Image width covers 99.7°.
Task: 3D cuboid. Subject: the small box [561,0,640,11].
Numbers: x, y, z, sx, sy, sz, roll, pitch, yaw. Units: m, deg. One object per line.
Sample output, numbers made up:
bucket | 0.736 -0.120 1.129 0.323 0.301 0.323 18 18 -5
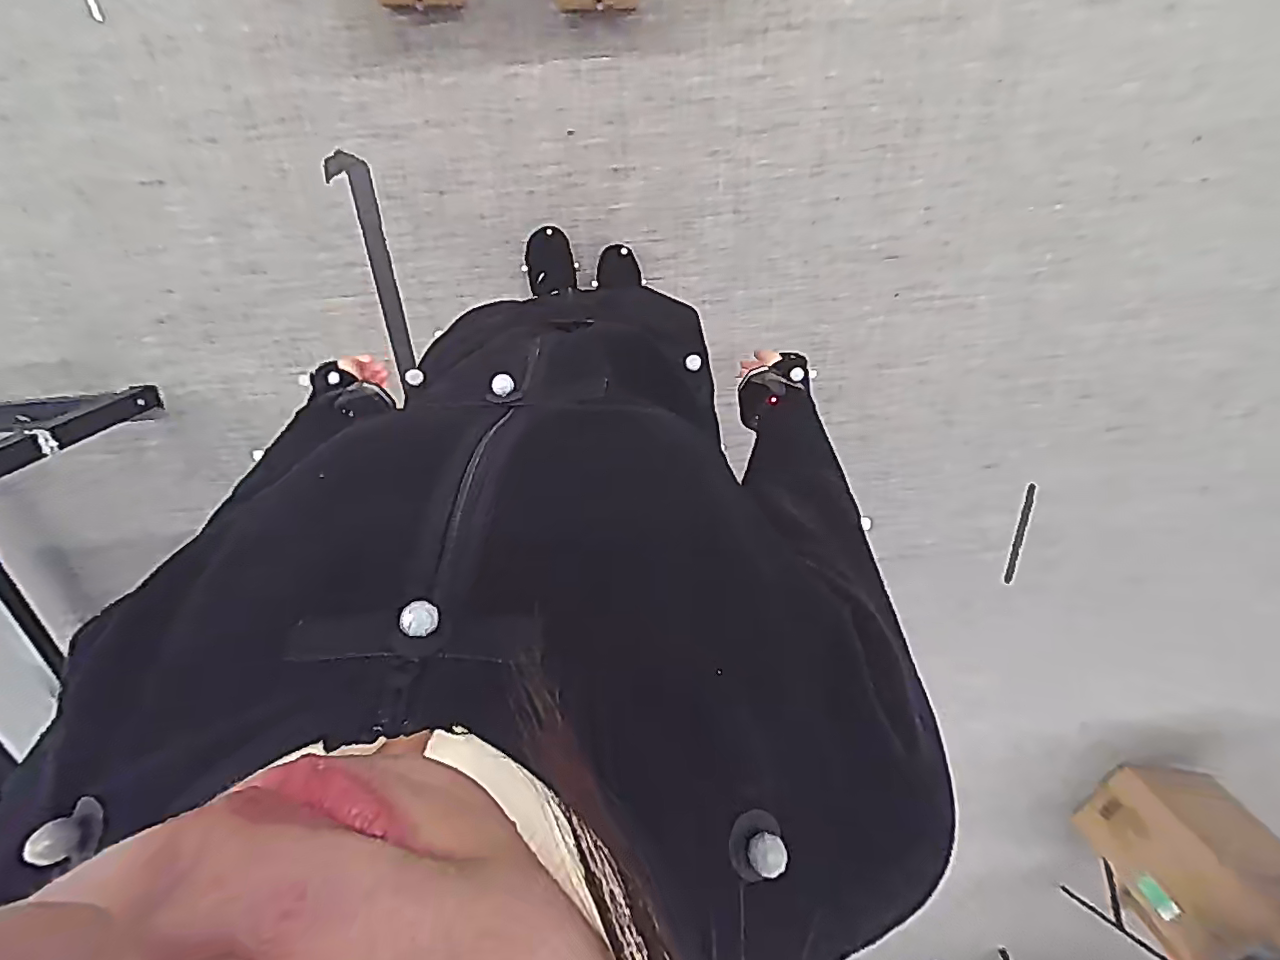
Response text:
small box | -0.077 -1.000 0.989 0.168 0.176 0.179 -3 117 -3

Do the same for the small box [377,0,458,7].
small box | -0.424 -0.979 0.966 0.179 0.176 0.168 -4 117 -5
